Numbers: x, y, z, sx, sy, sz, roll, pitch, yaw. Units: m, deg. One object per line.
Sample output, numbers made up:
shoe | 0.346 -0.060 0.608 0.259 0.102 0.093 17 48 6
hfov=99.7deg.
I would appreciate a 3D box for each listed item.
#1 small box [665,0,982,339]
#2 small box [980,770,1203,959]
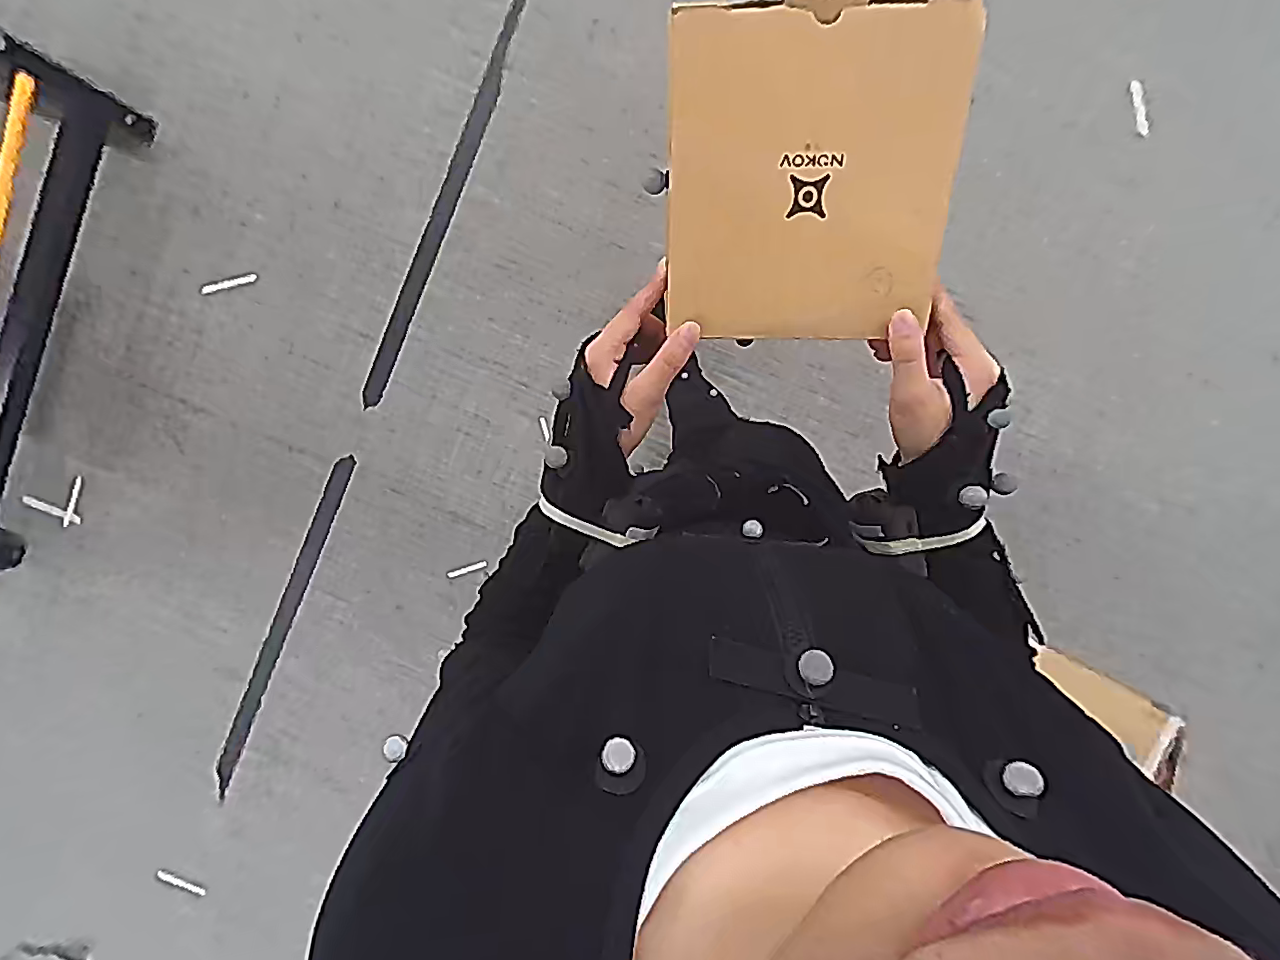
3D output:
small box | 0.103 -0.203 0.390 0.168 0.176 0.179 0 112 4
small box | 0.686 0.605 0.850 0.168 0.176 0.179 31 98 -1
